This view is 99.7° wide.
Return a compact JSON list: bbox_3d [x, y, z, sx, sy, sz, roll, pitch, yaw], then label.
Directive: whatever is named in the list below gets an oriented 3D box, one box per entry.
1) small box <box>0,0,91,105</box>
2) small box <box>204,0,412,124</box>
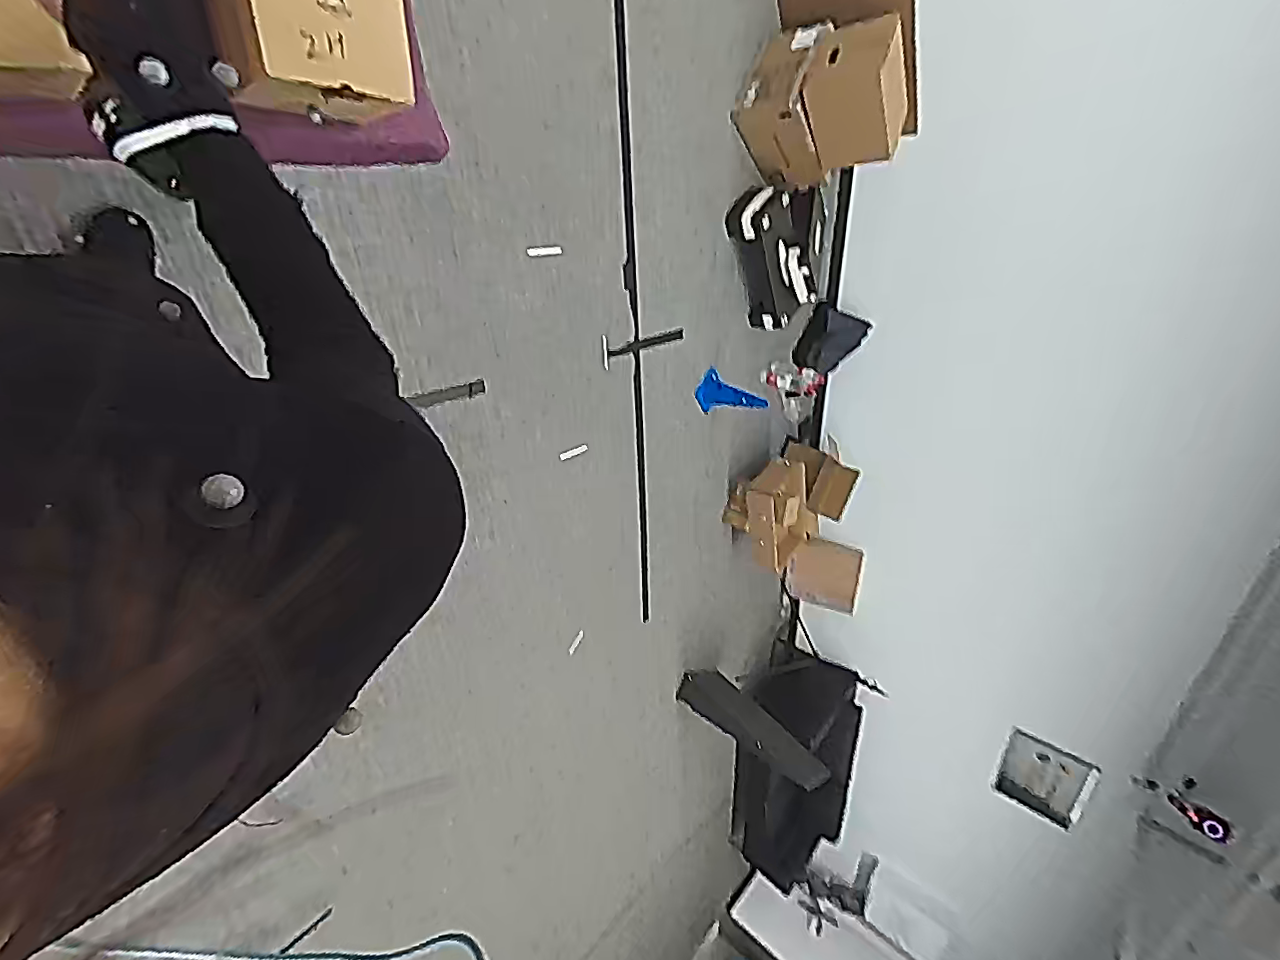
[{"bbox_3d":[-0.609,-0.426,0.441,0.168,0.176,0.179,-30,129,-38],"label":"small box"},{"bbox_3d":[-0.398,-0.547,0.639,0.168,0.176,0.179,-22,122,-42],"label":"small box"}]
